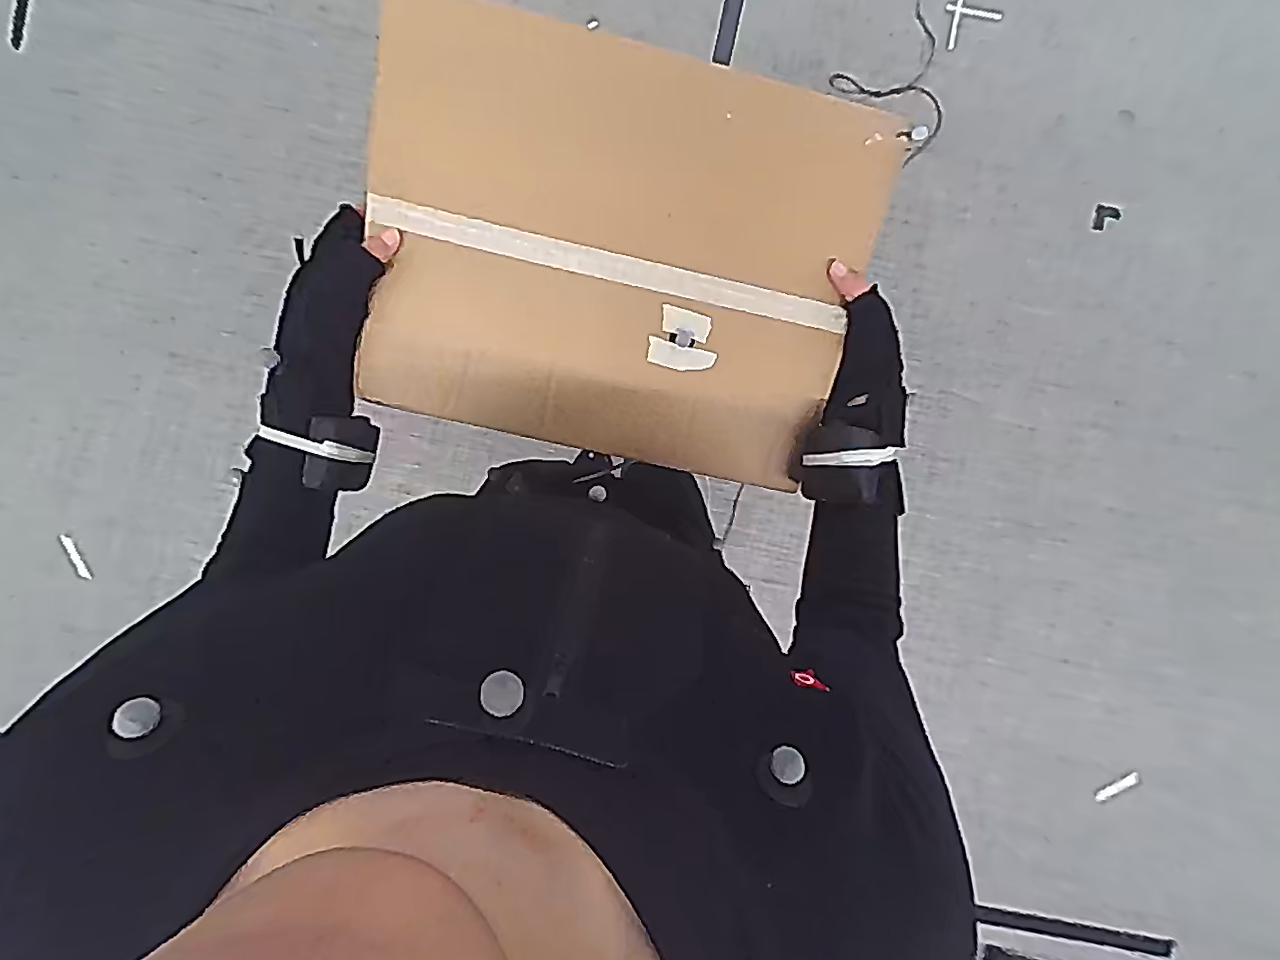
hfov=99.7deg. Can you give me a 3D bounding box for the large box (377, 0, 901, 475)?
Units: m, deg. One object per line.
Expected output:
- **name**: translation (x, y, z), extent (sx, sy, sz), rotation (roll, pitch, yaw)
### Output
- **large box**: translation (-0.018, -0.225, 0.601), extent (0.408, 0.320, 0.320), rotation (12, 107, -5)
